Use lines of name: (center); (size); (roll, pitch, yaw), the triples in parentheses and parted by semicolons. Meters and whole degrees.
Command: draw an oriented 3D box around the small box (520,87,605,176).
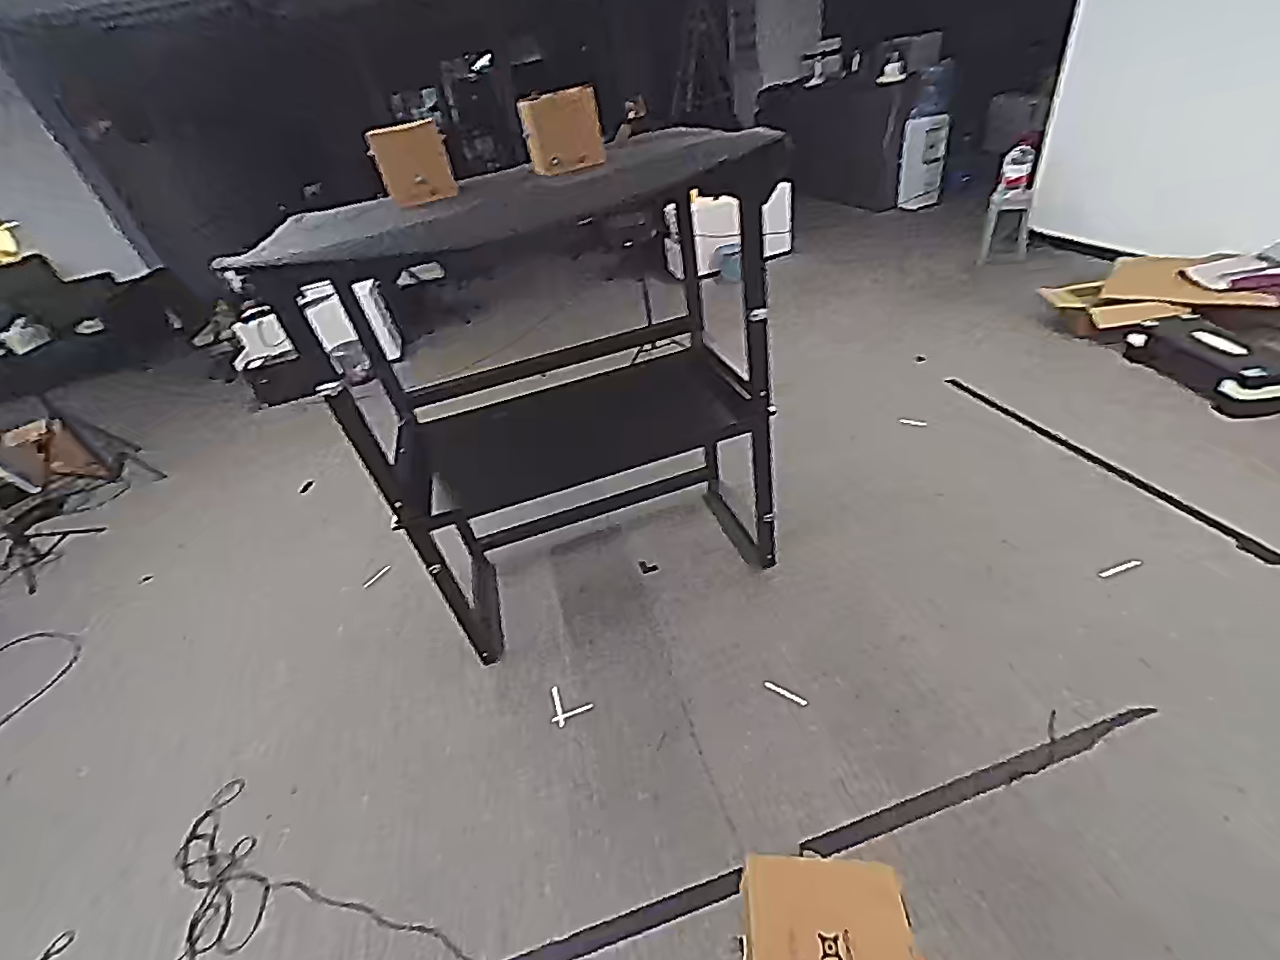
small box: (-0.203, -0.918, 1.430); (0.168, 0.176, 0.179); (-19, 37, -9)

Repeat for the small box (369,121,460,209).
small box: (-0.583, -0.823, 1.414); (0.168, 0.176, 0.179); (-20, 39, -9)

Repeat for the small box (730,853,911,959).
small box: (0.203, 0.558, 0.630); (0.179, 0.176, 0.168); (-2, 40, 4)
